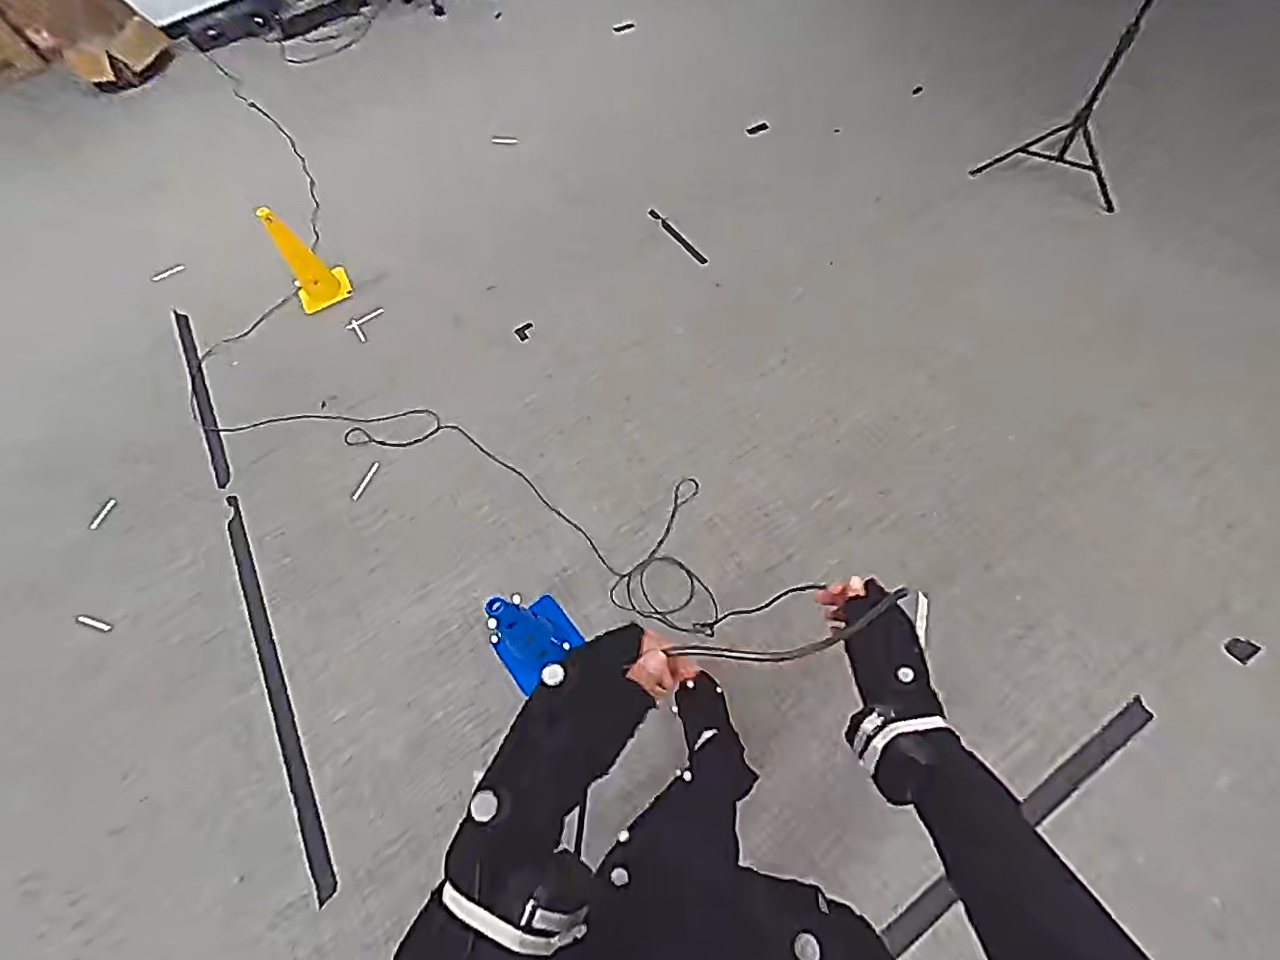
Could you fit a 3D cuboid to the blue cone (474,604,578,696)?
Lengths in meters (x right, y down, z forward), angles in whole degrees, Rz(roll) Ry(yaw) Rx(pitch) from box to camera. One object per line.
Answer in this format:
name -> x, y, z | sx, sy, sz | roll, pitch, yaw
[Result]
blue cone -> -0.294, 0.362, 1.269 | 0.192, 0.380, 0.193 | -37, 64, -13
